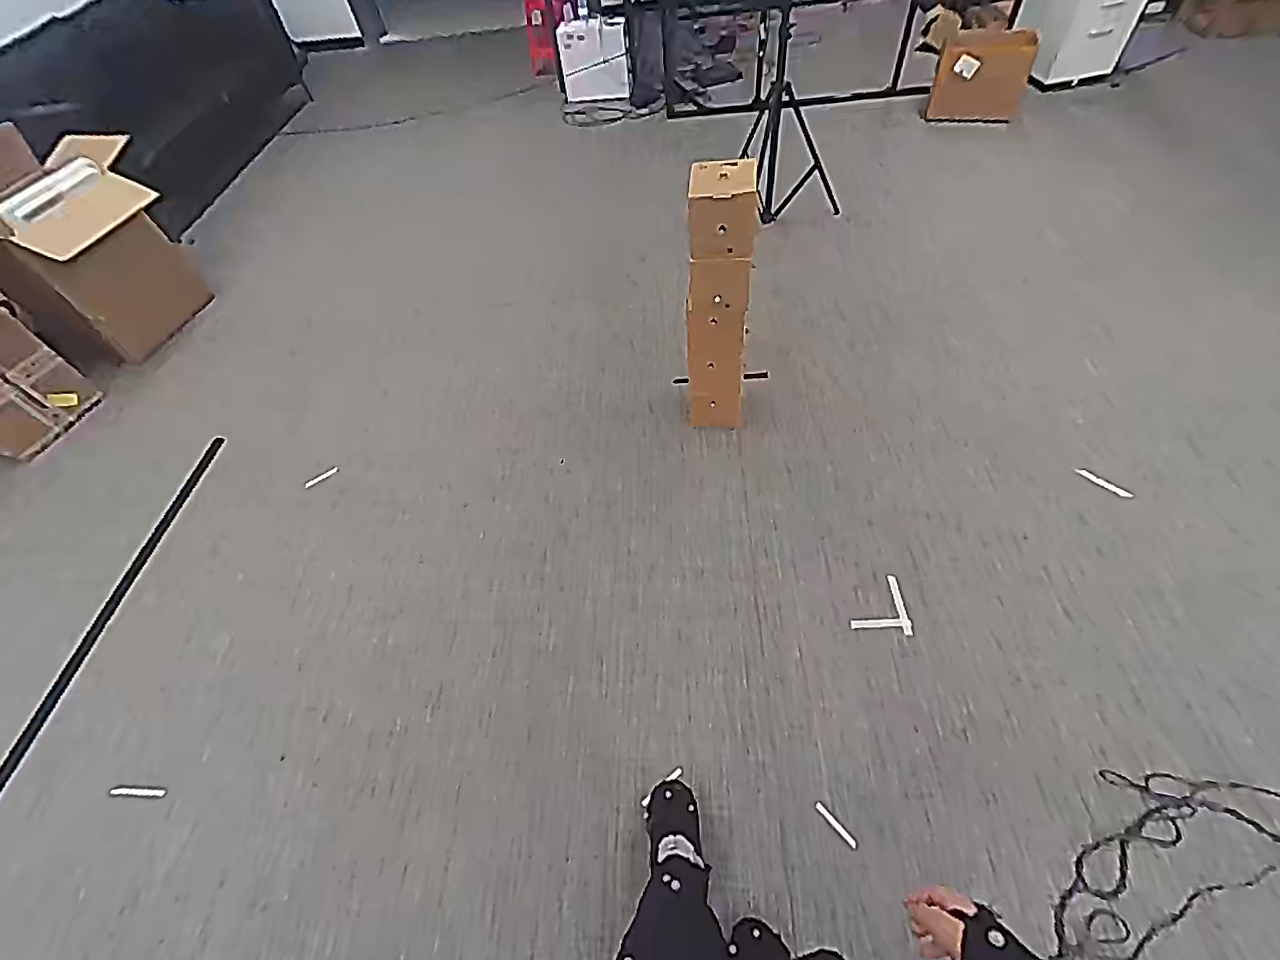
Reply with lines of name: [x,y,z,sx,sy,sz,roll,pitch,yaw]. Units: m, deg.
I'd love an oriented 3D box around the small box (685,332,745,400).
small box: [0.252,-0.383,1.805,0.179,0.176,0.168,6,55,12]

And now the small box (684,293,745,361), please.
small box: [0.235,-0.485,1.681,0.179,0.176,0.168,4,55,10]

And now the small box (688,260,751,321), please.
small box: [0.230,-0.580,1.545,0.168,0.176,0.179,3,56,11]

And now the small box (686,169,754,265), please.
small box: [0.213,-0.684,1.419,0.168,0.176,0.179,2,55,9]

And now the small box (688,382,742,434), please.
small box: [0.270,-0.279,1.931,0.179,0.176,0.168,4,54,10]
